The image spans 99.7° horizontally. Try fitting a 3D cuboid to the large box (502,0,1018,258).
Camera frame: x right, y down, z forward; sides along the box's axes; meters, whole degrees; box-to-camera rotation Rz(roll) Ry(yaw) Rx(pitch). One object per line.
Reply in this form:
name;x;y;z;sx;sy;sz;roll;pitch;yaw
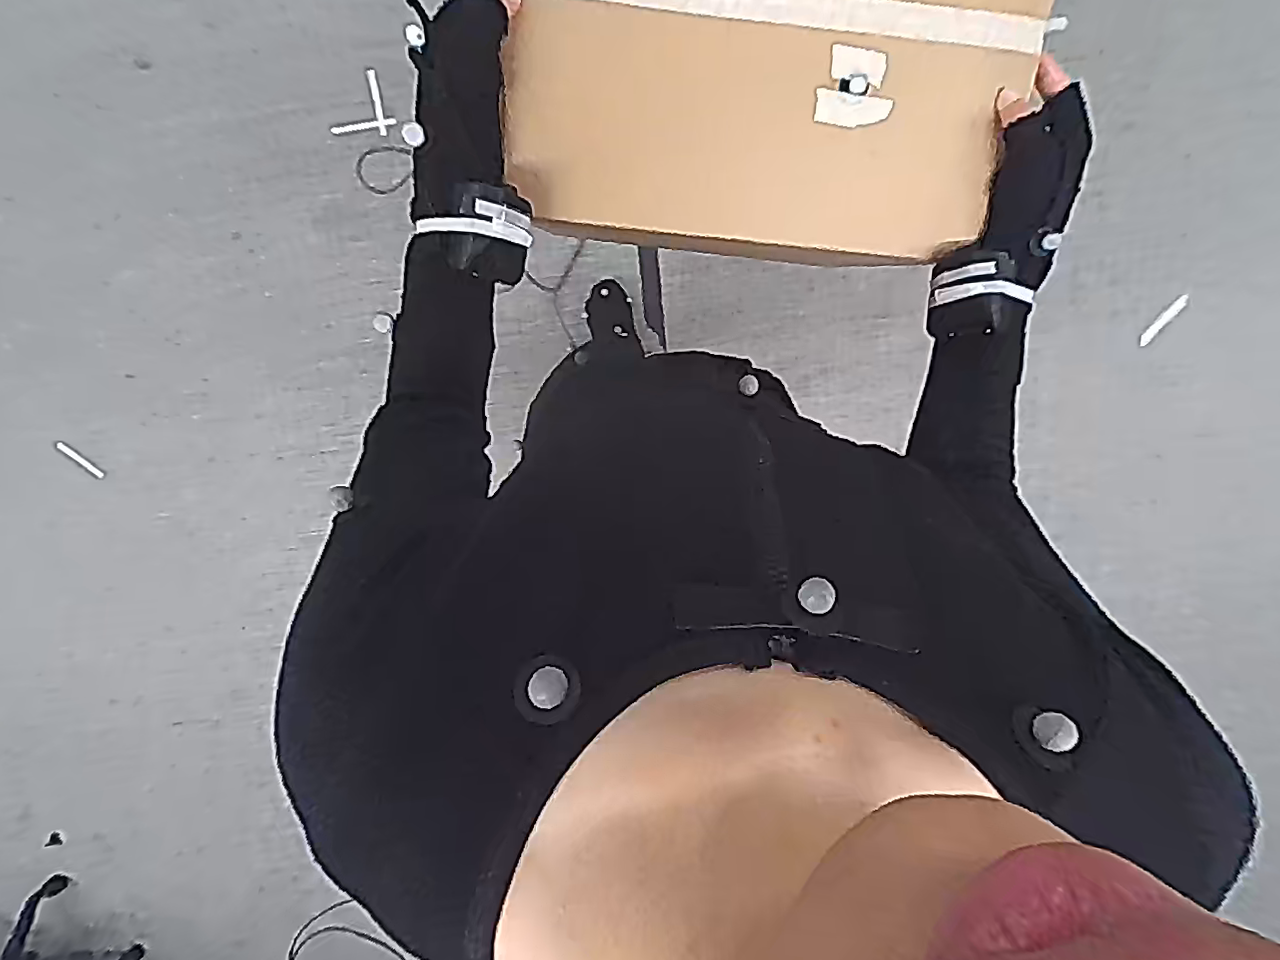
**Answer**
large box;0.086;-0.410;0.555;0.408;0.320;0.320;3;112;-4
